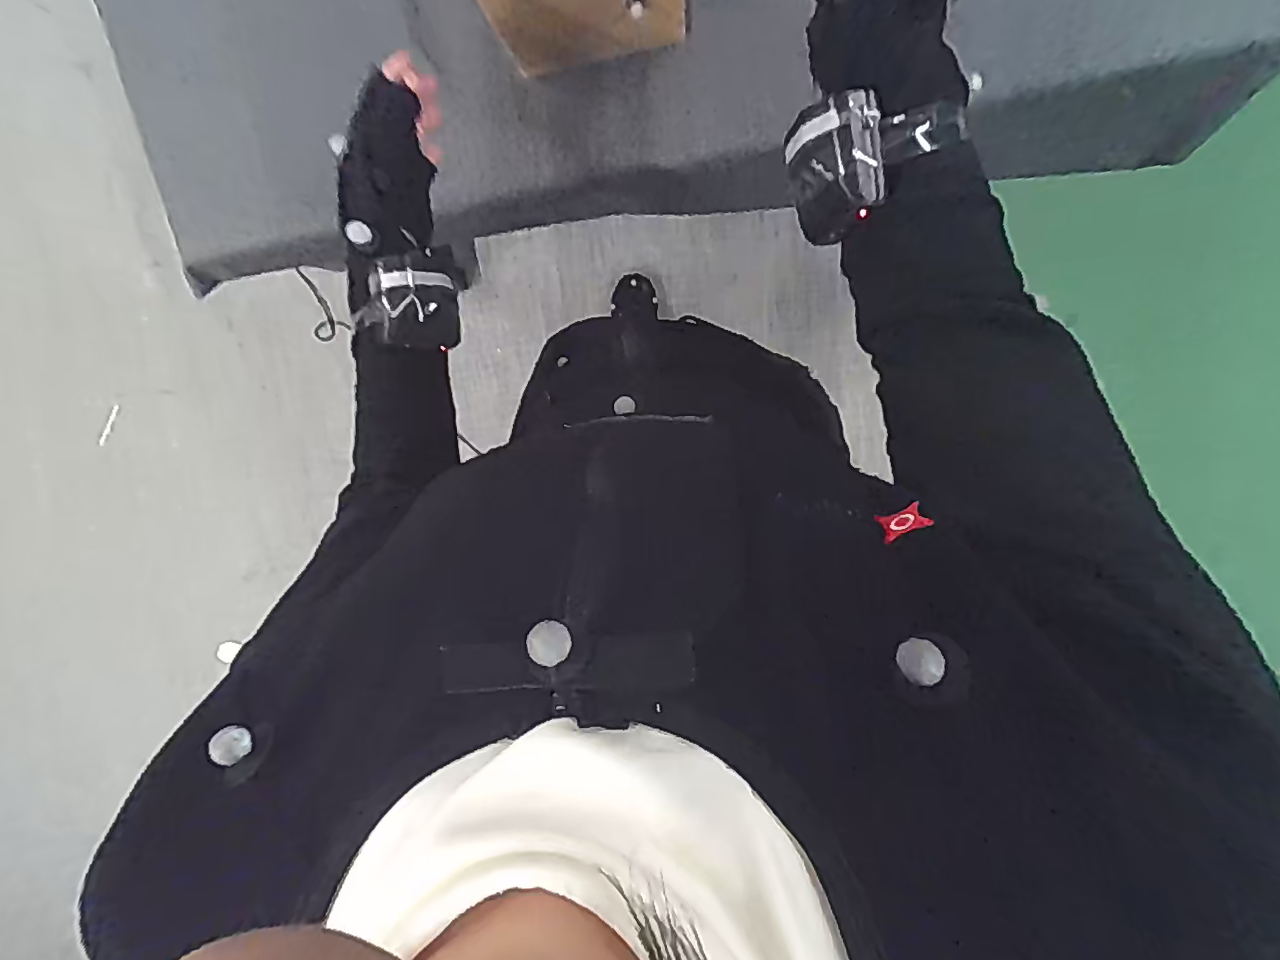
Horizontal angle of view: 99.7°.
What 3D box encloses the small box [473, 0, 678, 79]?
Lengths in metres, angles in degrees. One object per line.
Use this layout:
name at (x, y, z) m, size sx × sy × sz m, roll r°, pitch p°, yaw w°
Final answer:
small box at (-0.061, -0.499, 0.477) m, size 0.179 × 0.176 × 0.168 m, roll -8°, pitch 102°, yaw 8°
